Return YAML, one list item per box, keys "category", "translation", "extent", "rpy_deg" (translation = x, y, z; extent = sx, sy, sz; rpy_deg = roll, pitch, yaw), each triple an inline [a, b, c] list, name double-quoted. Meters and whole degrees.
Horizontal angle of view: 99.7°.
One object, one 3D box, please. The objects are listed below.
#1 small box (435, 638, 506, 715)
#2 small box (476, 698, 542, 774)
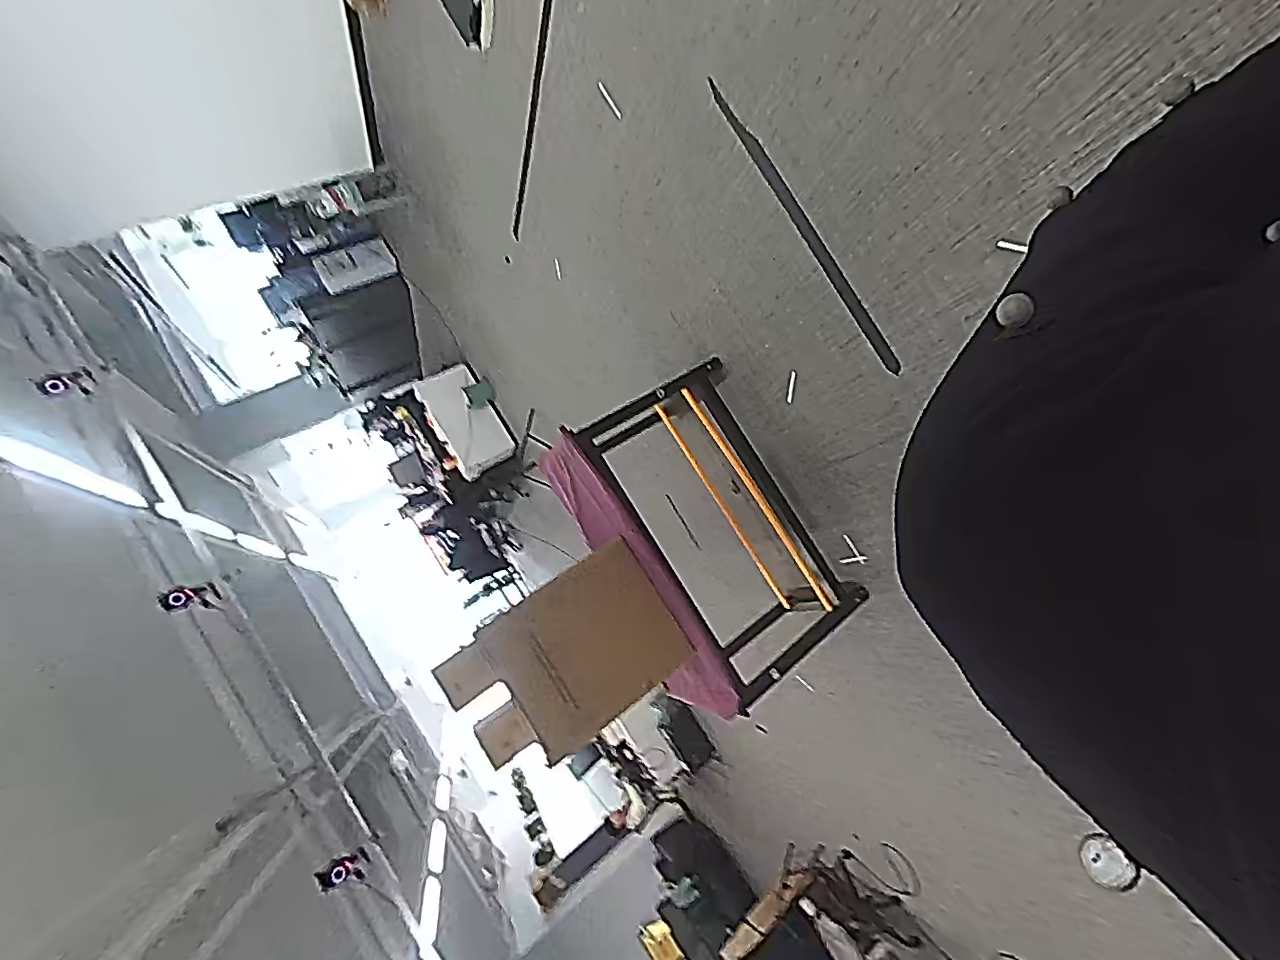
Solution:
- category: "small box"
  translation: [-0.566, 0.658, 1.825]
  extent: [0.179, 0.176, 0.168]
  rpy_deg: [55, 157, 6]
- category: "small box"
  translation: [-0.473, 0.918, 1.959]
  extent: [0.168, 0.176, 0.179]
  rpy_deg: [59, 158, 1]
